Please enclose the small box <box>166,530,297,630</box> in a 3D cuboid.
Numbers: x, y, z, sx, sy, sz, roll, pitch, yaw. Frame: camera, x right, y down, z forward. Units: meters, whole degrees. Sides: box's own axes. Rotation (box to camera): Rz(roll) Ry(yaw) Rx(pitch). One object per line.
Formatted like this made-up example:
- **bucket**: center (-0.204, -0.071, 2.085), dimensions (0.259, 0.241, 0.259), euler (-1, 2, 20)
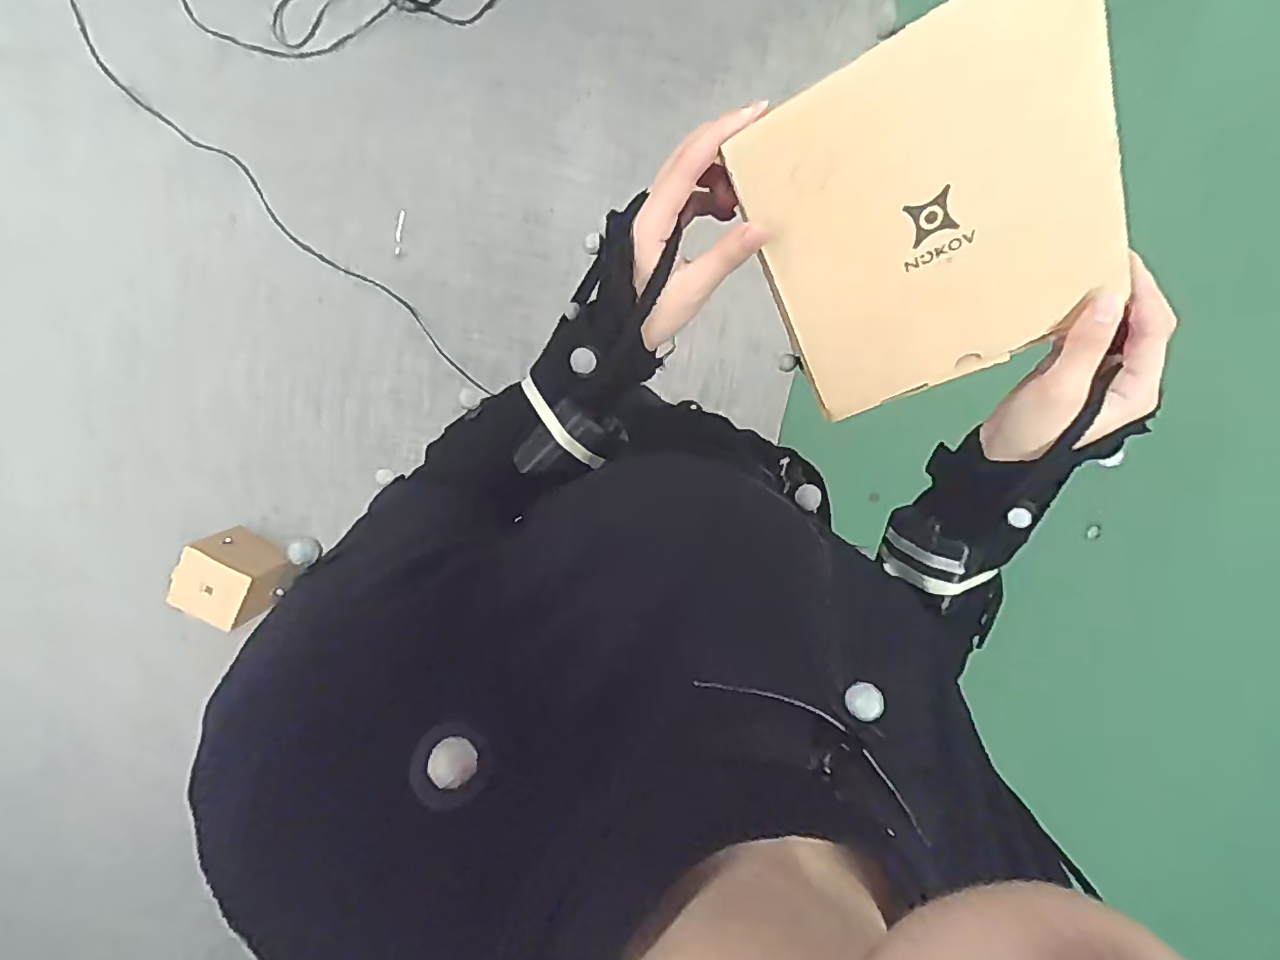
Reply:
- **small box**: center (-1.023, 0.242, 1.367), dimensions (0.179, 0.176, 0.168), euler (28, 101, -4)
